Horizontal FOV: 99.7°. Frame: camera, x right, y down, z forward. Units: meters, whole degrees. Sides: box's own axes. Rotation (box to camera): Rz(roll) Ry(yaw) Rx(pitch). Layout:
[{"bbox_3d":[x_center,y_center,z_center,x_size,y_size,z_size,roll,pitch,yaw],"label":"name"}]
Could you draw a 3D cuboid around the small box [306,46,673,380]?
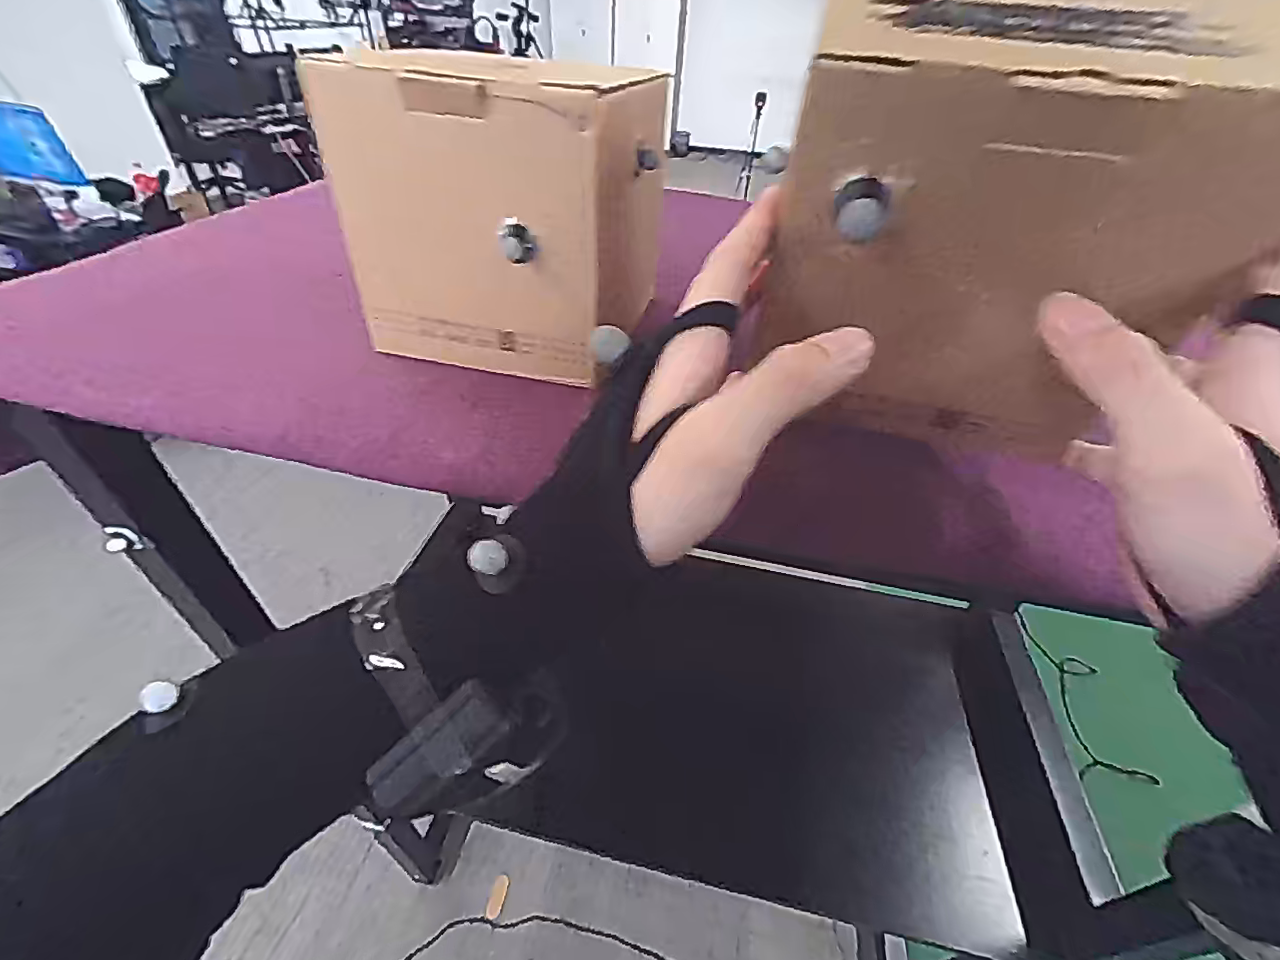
[{"bbox_3d":[-0.081,-0.191,0.383,0.168,0.176,0.179,14,40,8],"label":"small box"}]
